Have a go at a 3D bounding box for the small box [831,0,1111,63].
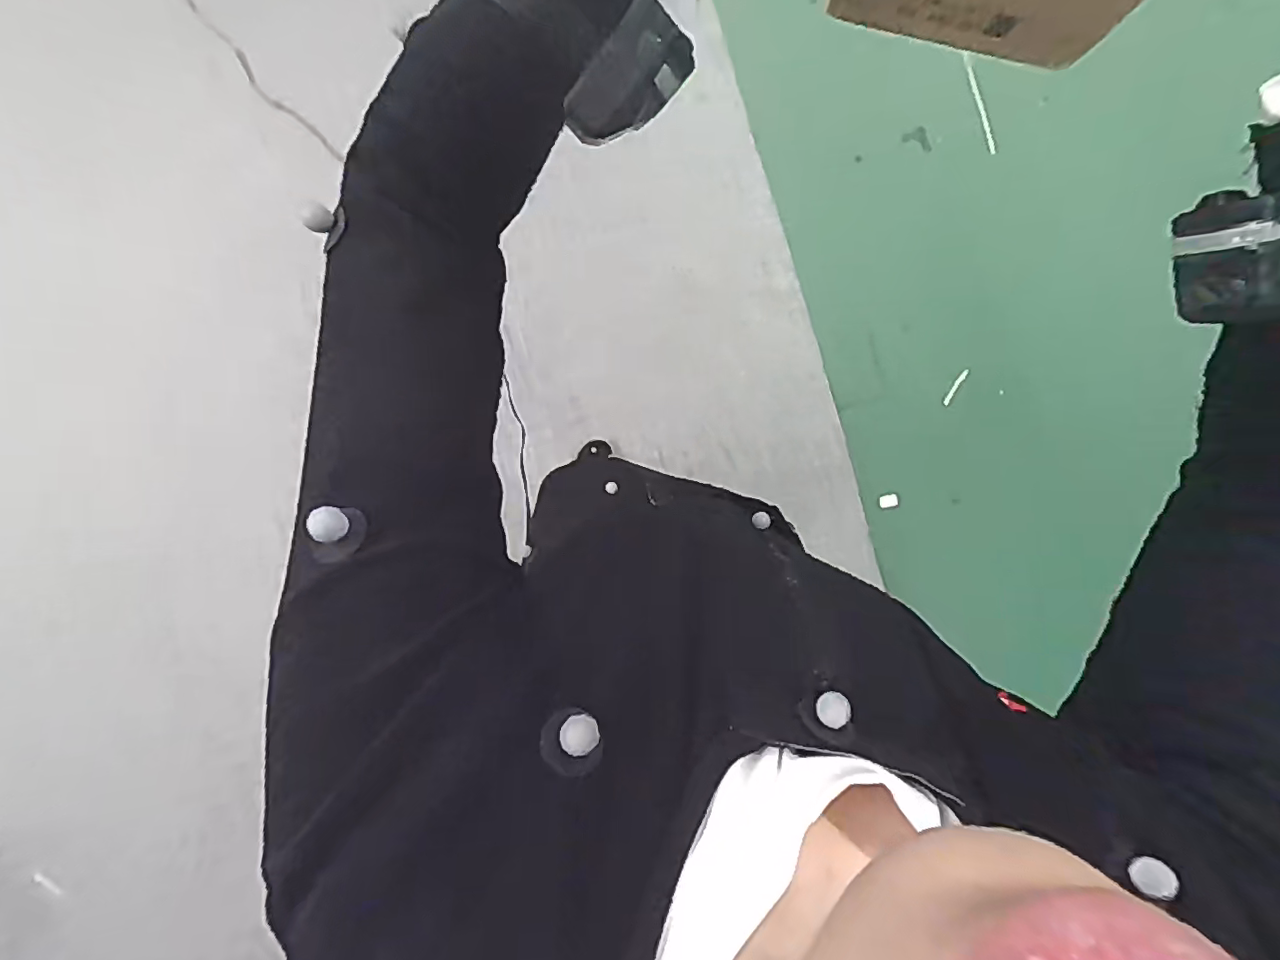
[{"bbox_3d":[0.207,-0.372,0.274,0.168,0.176,0.179,10,86,-2],"label":"small box"}]
